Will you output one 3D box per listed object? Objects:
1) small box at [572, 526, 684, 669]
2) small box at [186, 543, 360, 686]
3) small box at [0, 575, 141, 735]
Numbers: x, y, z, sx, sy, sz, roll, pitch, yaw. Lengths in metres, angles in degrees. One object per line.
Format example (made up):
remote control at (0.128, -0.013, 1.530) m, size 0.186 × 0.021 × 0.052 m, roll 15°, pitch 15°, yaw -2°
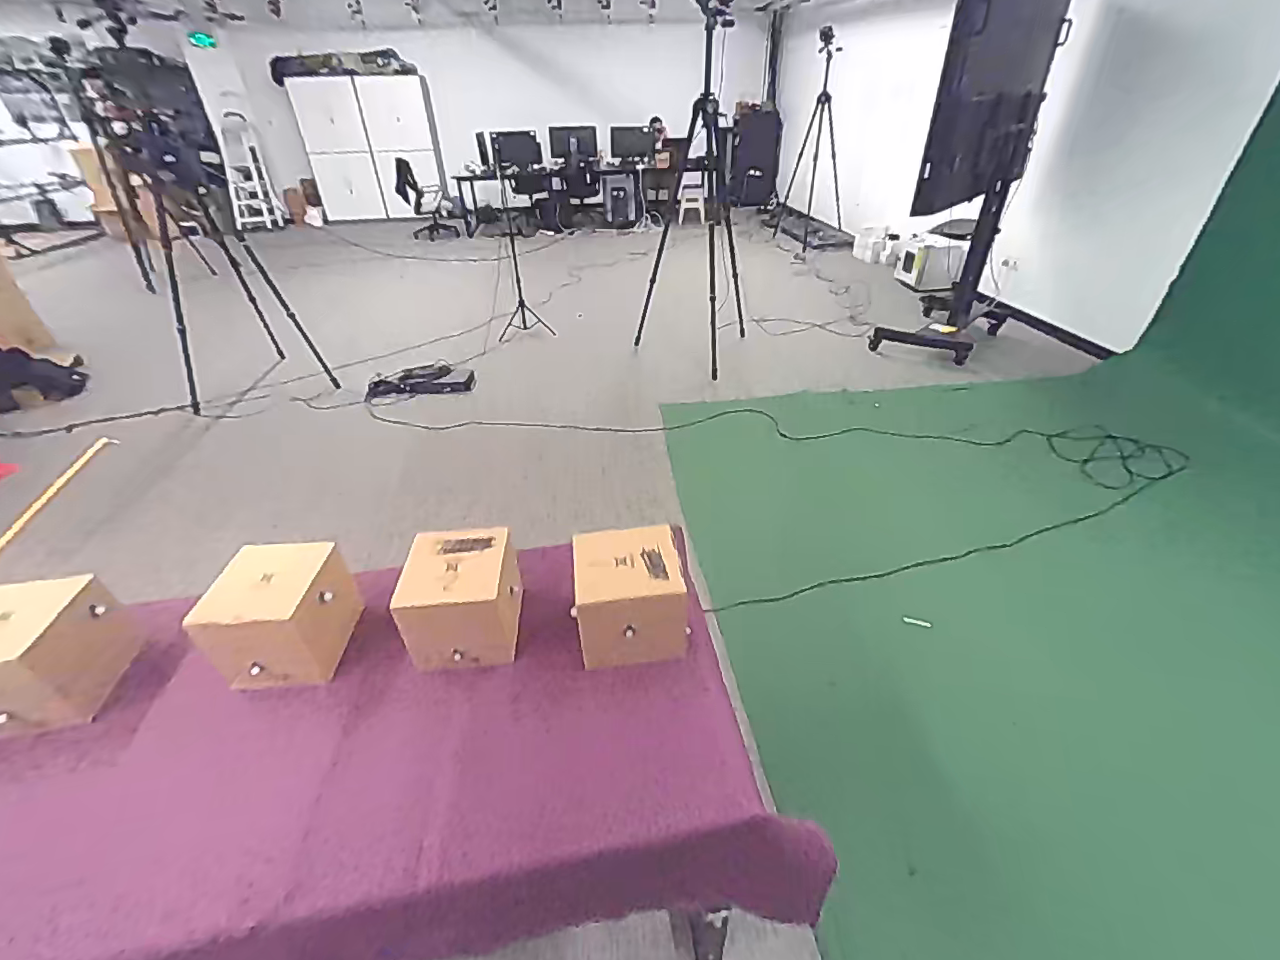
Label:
small box at (-0.022, 0.204, 0.941) m, size 0.179 × 0.176 × 0.168 m, roll -7°, pitch 35°, yaw -4°
small box at (-0.613, 0.231, 0.936) m, size 0.168 × 0.176 × 0.179 m, roll -3°, pitch 36°, yaw -1°
small box at (-0.972, 0.282, 0.875) m, size 0.168 × 0.176 × 0.179 m, roll -7°, pitch 36°, yaw -7°
